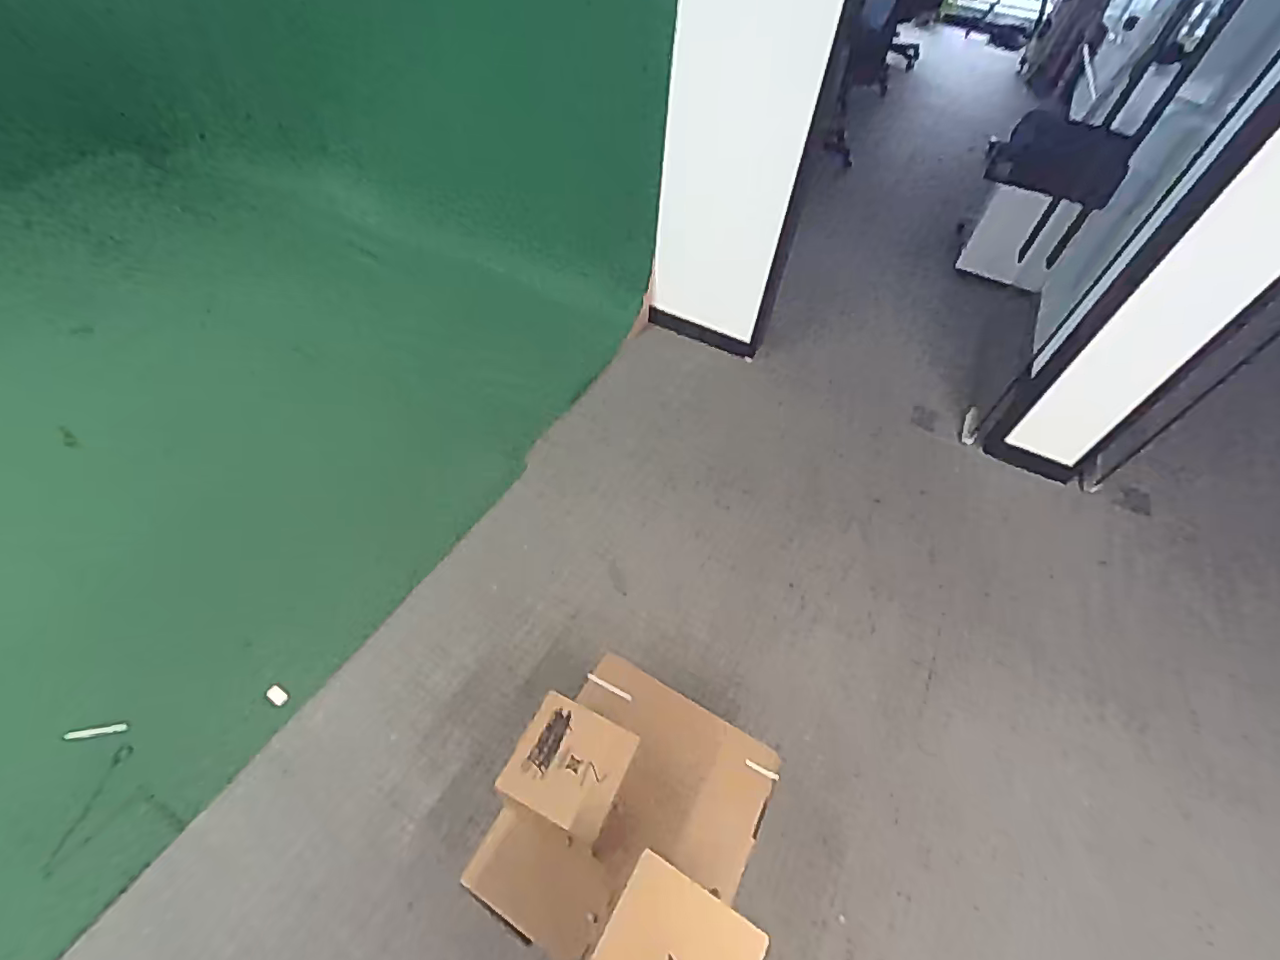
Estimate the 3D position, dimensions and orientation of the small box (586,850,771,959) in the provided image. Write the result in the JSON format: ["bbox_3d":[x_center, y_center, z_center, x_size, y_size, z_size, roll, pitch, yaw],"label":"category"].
[{"bbox_3d":[0.029,0.584,0.644,0.168,0.176,0.179,28,54,15],"label":"small box"}]

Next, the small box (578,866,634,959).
[{"bbox_3d":[0.016,0.688,0.769,0.179,0.176,0.168,27,53,15],"label":"small box"}]
